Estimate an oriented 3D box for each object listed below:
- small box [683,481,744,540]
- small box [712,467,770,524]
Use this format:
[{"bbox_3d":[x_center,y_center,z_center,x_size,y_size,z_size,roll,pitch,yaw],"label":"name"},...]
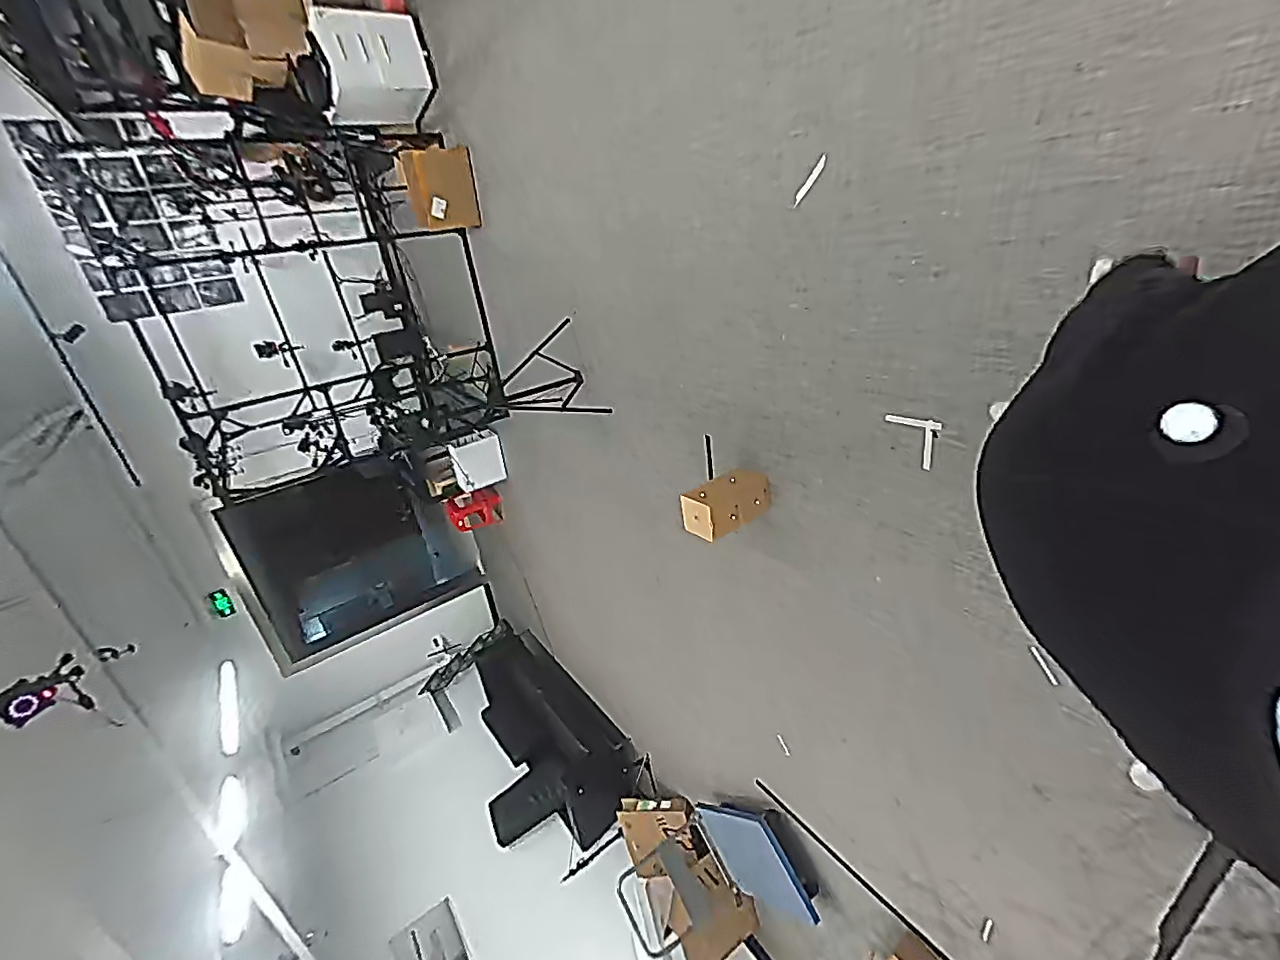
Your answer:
[{"bbox_3d":[0.299,0.115,2.194,0.179,0.176,0.168,22,129,51],"label":"small box"},{"bbox_3d":[0.430,0.058,2.272,0.179,0.176,0.168,22,128,52],"label":"small box"}]
